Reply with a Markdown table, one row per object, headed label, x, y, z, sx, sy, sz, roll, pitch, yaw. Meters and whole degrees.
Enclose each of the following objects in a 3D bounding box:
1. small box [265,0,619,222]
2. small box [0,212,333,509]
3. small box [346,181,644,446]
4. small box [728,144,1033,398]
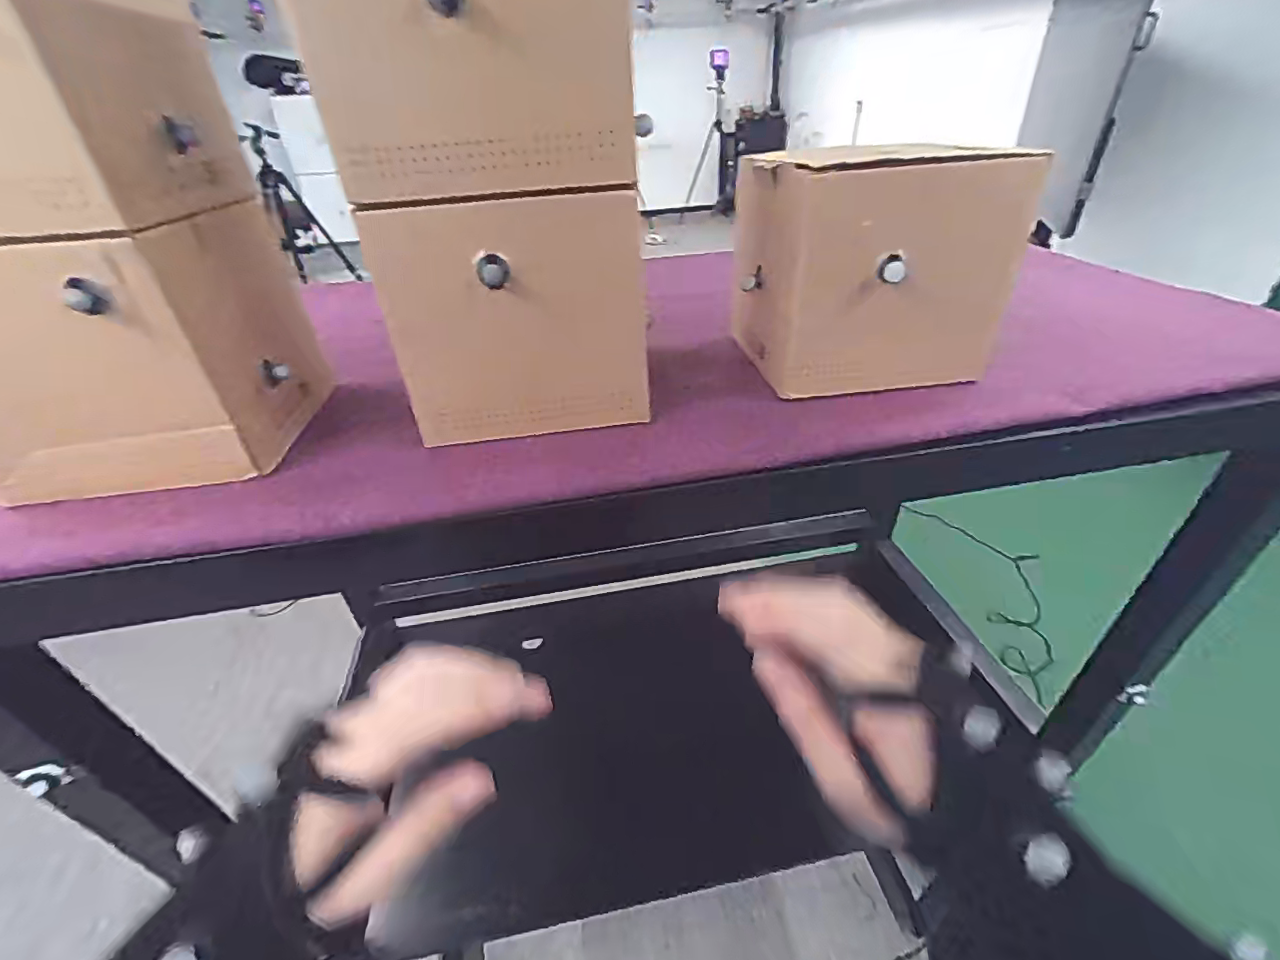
| label | x | y | z | sx | sy | sz | roll | pitch | yaw |
| --- | --- | --- | --- | --- | --- | --- | --- | --- | --- |
| small box | -0.109 | -0.275 | 0.349 | 0.179 | 0.176 | 0.168 | -9 | 34 | -4 |
| small box | -0.374 | -0.093 | 0.409 | 0.179 | 0.176 | 0.168 | -7 | 35 | -5 |
| small box | -0.098 | -0.140 | 0.442 | 0.179 | 0.176 | 0.168 | -8 | 35 | -4 |
| small box | 0.181 | -0.183 | 0.470 | 0.179 | 0.176 | 0.168 | -8 | 35 | -3 |
